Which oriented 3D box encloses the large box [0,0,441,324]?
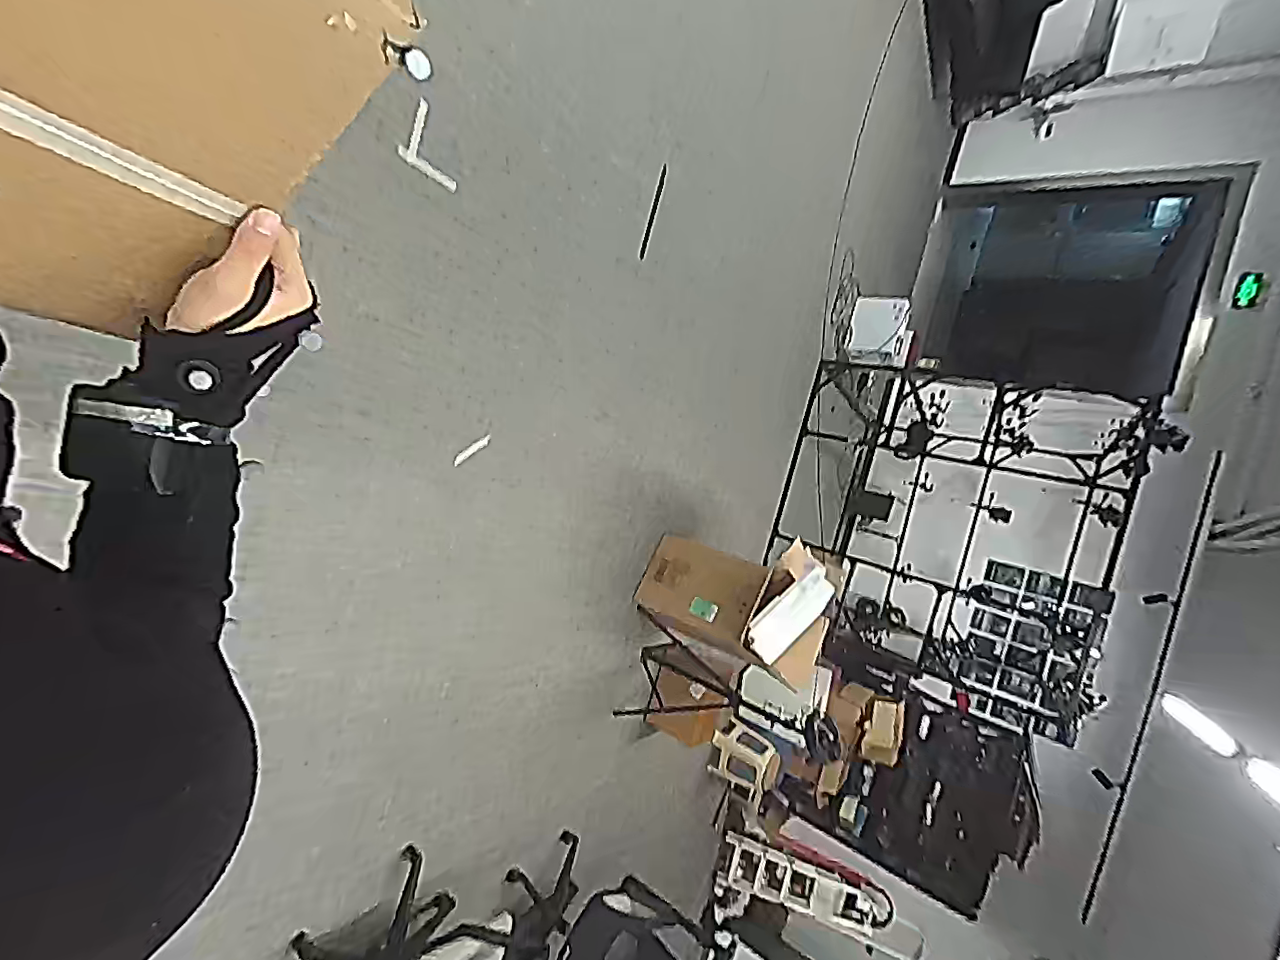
[{"bbox_3d":[-0.360,-0.331,0.211,0.408,0.320,0.320,12,58,-56],"label":"large box"}]
